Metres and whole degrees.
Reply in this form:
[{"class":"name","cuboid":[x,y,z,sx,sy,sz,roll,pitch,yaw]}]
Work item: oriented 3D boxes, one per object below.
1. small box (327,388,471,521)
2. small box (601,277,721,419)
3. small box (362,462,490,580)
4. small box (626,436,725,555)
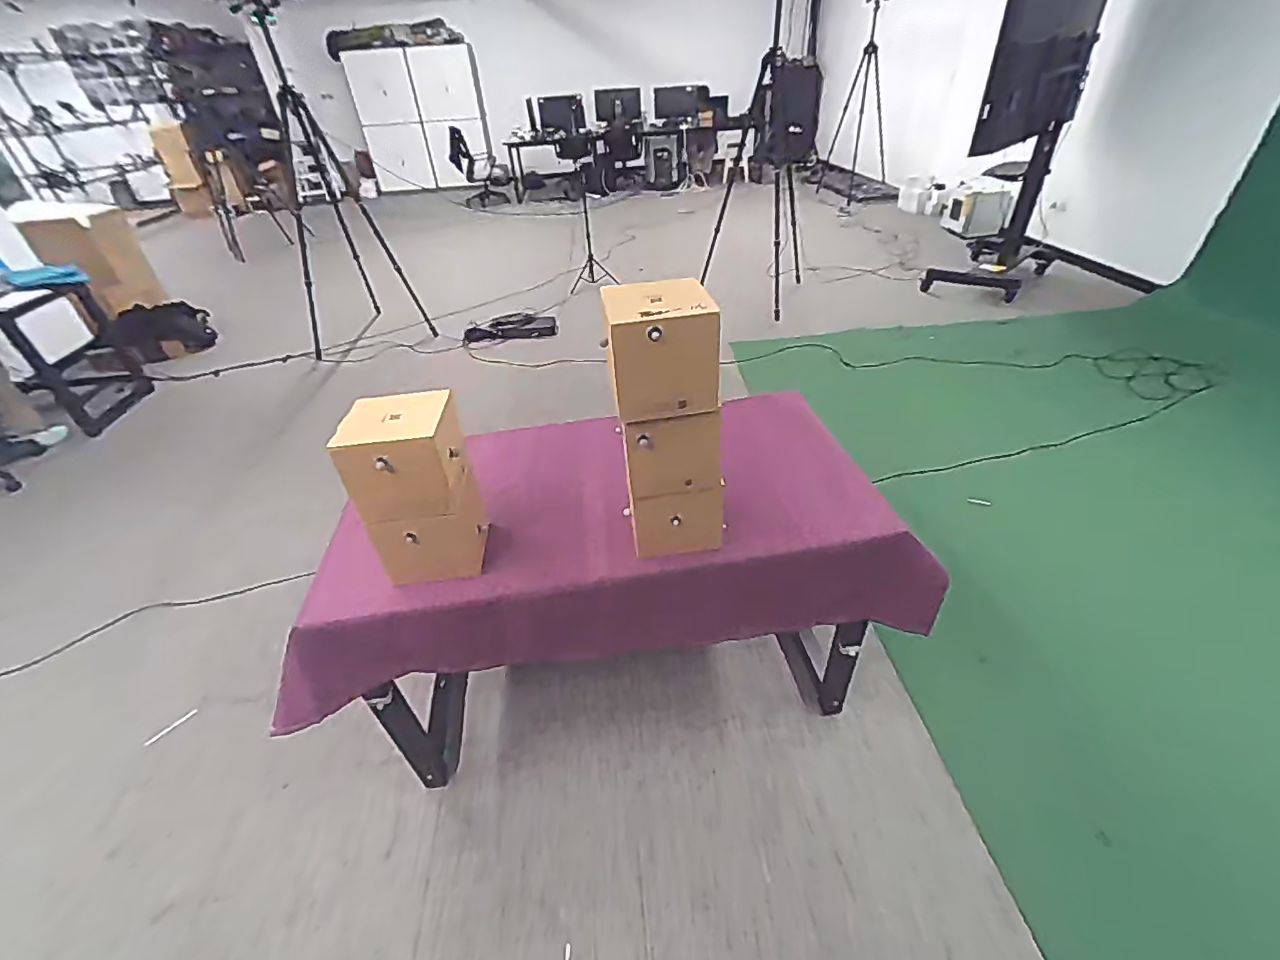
[{"class":"small box","cuboid":[-0.420,-0.046,0.982,0.179,0.176,0.168,-7,38,-2]},{"class":"small box","cuboid":[0.031,-0.219,0.888,0.168,0.176,0.179,-9,37,-4]},{"class":"small box","cuboid":[-0.415,0.084,1.081,0.179,0.176,0.168,-6,38,-2]},{"class":"small box","cuboid":[0.068,0.032,1.099,0.179,0.176,0.168,-7,38,-2]}]
